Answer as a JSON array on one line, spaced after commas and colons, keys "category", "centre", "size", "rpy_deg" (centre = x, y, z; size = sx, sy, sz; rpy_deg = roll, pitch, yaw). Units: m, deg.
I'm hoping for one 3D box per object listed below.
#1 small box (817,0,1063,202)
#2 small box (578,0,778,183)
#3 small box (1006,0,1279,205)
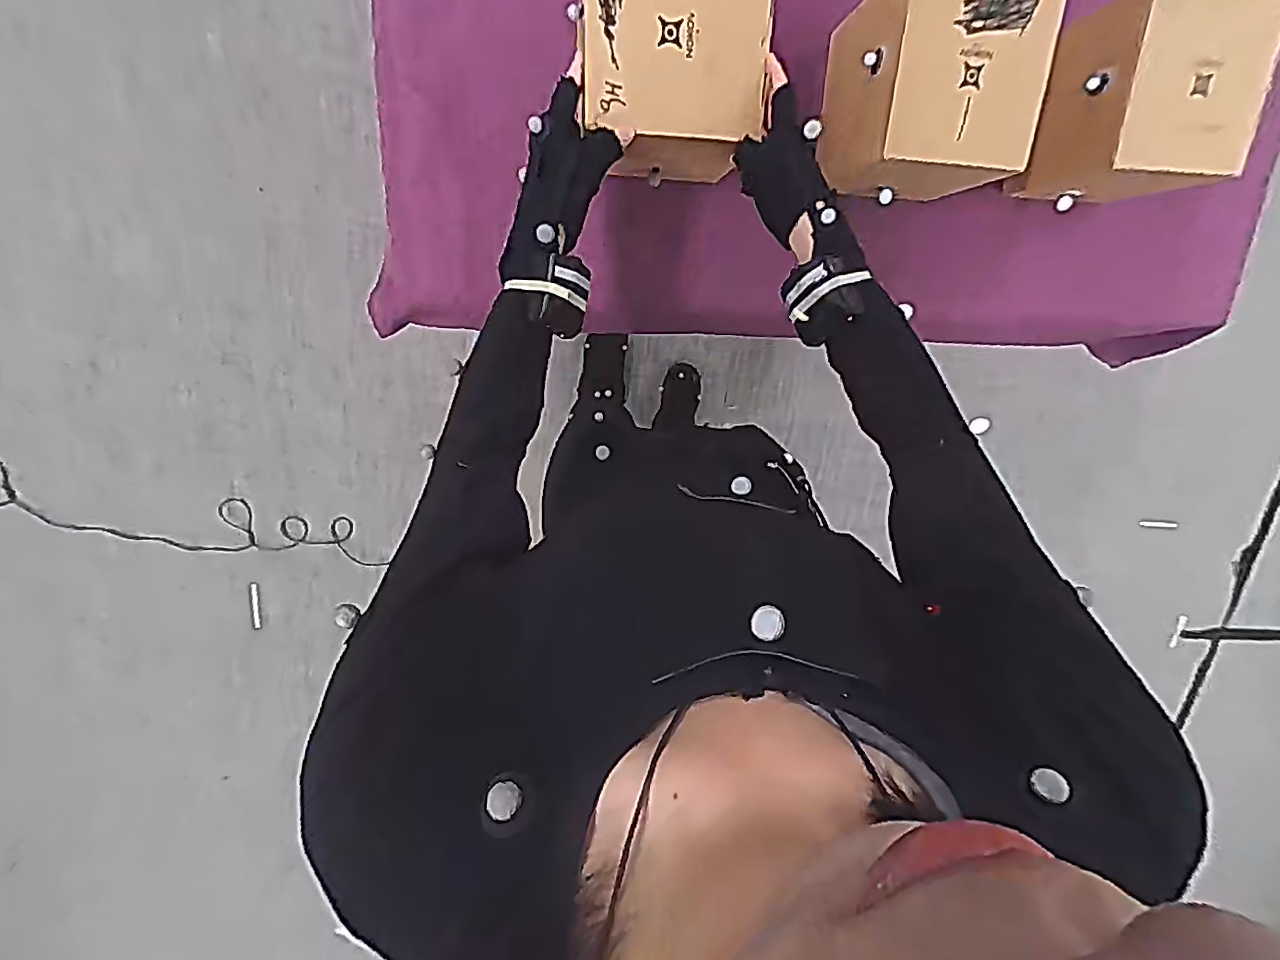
[{"category": "small box", "centre": [0.320, -0.434, 0.612], "size": [0.168, 0.176, 0.179], "rpy_deg": [1, 107, -8]}, {"category": "small box", "centre": [0.028, -0.427, 0.571], "size": [0.179, 0.176, 0.168], "rpy_deg": [1, 106, -8]}, {"category": "small box", "centre": [0.584, -0.447, 0.649], "size": [0.168, 0.176, 0.179], "rpy_deg": [-1, 107, -7]}]
